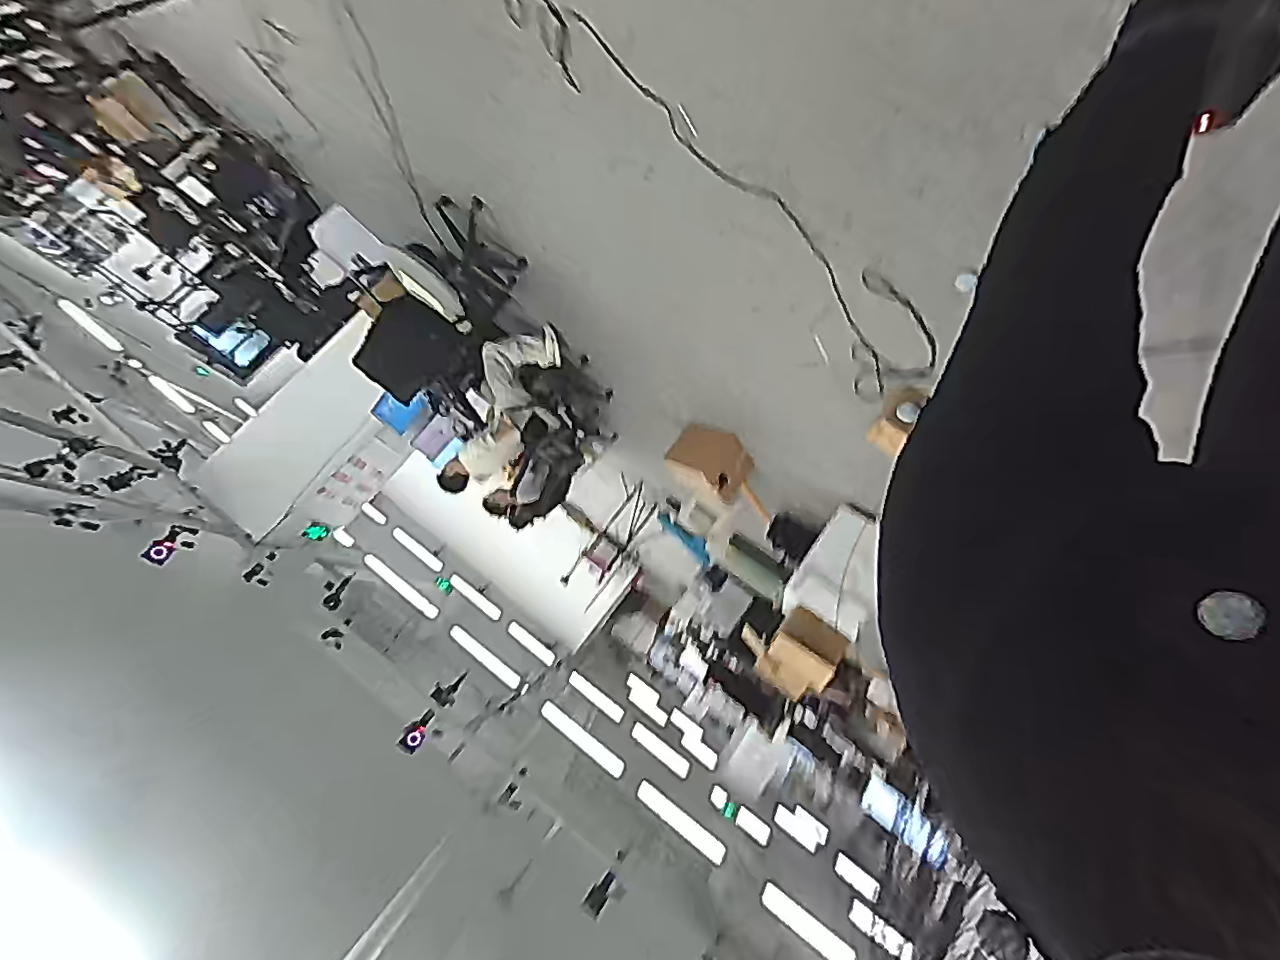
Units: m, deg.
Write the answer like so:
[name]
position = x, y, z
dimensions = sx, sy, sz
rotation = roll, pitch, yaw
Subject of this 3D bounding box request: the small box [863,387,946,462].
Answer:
[small box]
position = 0.936, -0.197, 1.911
dimensions = 0.179, 0.176, 0.168
rotation = 35, 167, 9
